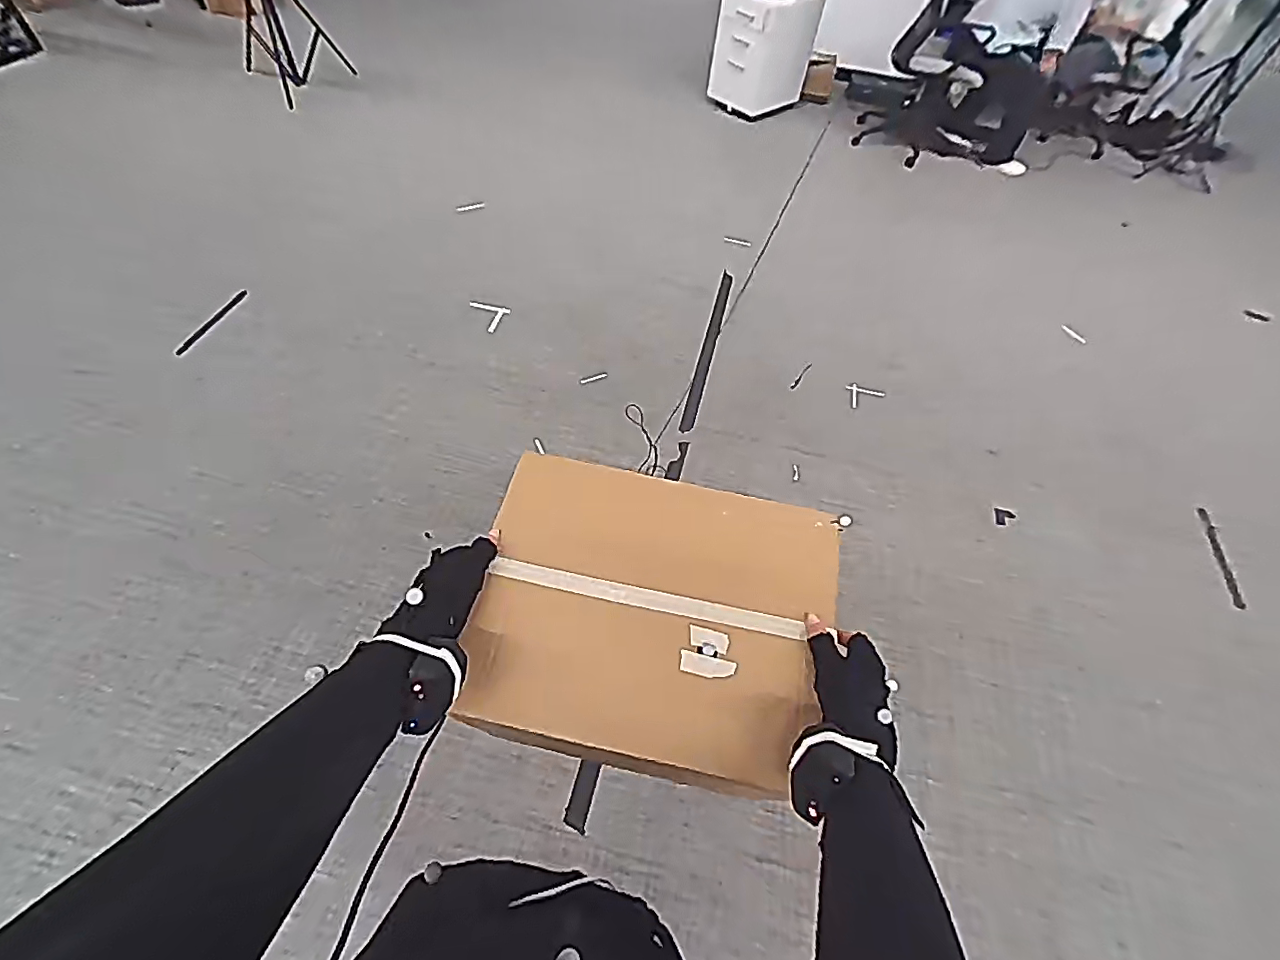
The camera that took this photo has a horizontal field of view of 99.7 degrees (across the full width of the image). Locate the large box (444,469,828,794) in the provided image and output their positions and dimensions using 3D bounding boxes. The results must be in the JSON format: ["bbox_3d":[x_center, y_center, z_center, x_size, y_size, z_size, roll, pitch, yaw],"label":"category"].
[{"bbox_3d":[0.007,0.223,0.750,0.408,0.320,0.320,12,61,3],"label":"large box"}]
